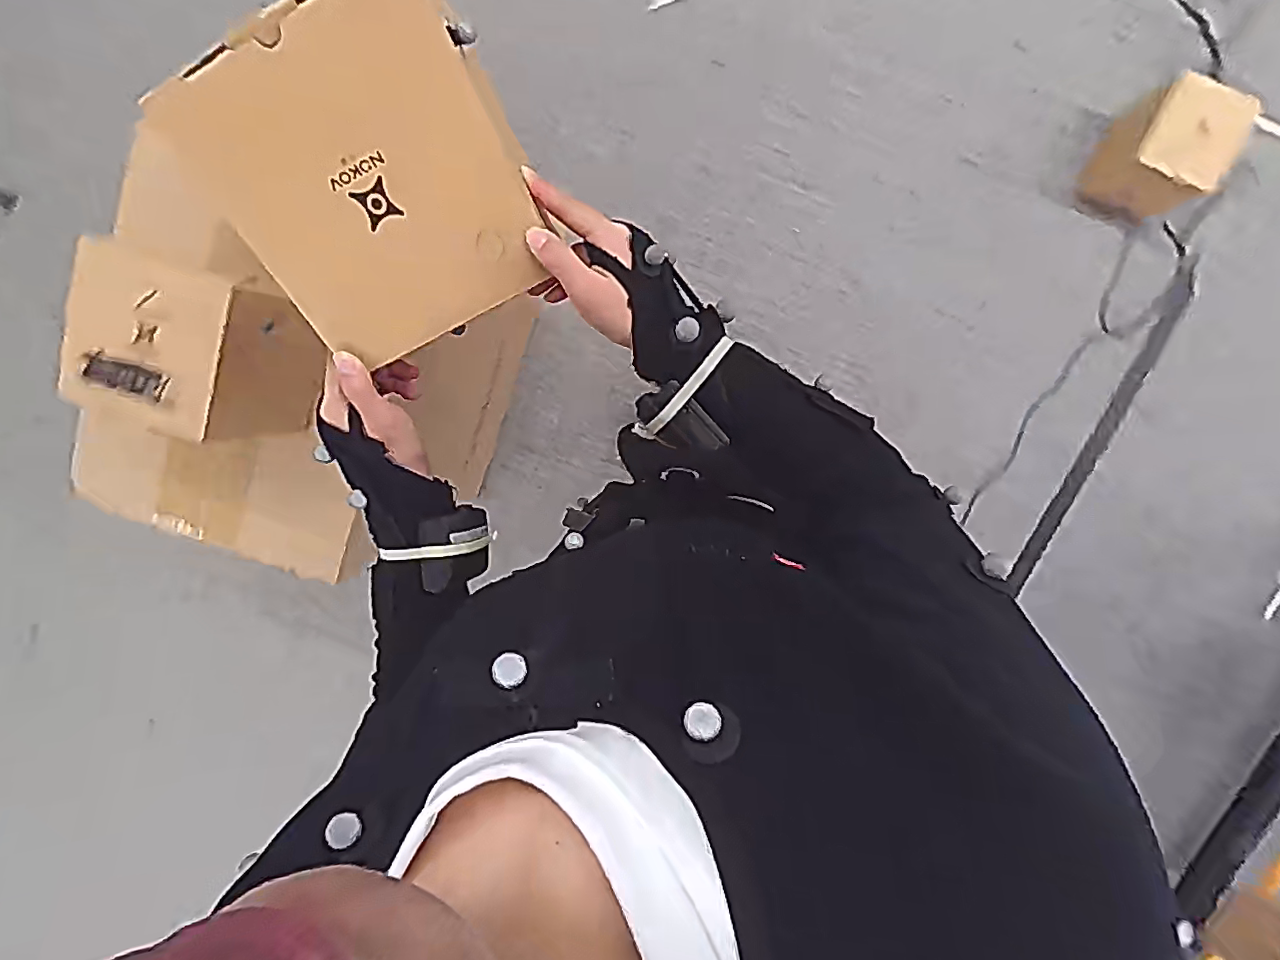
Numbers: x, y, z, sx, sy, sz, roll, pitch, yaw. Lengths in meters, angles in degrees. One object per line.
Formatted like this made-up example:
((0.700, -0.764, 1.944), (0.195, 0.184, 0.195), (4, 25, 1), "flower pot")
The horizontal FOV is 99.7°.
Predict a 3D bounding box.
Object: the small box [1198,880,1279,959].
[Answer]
((1.510, 1.102, 1.282), (0.179, 0.176, 0.168), (22, 99, -2), "small box")

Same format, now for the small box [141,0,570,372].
((-0.157, -0.208, 0.377), (0.168, 0.176, 0.179), (-24, 120, 7), "small box")

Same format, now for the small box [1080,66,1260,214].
((1.070, -0.686, 1.113), (0.168, 0.176, 0.179), (23, 100, 1), "small box")
